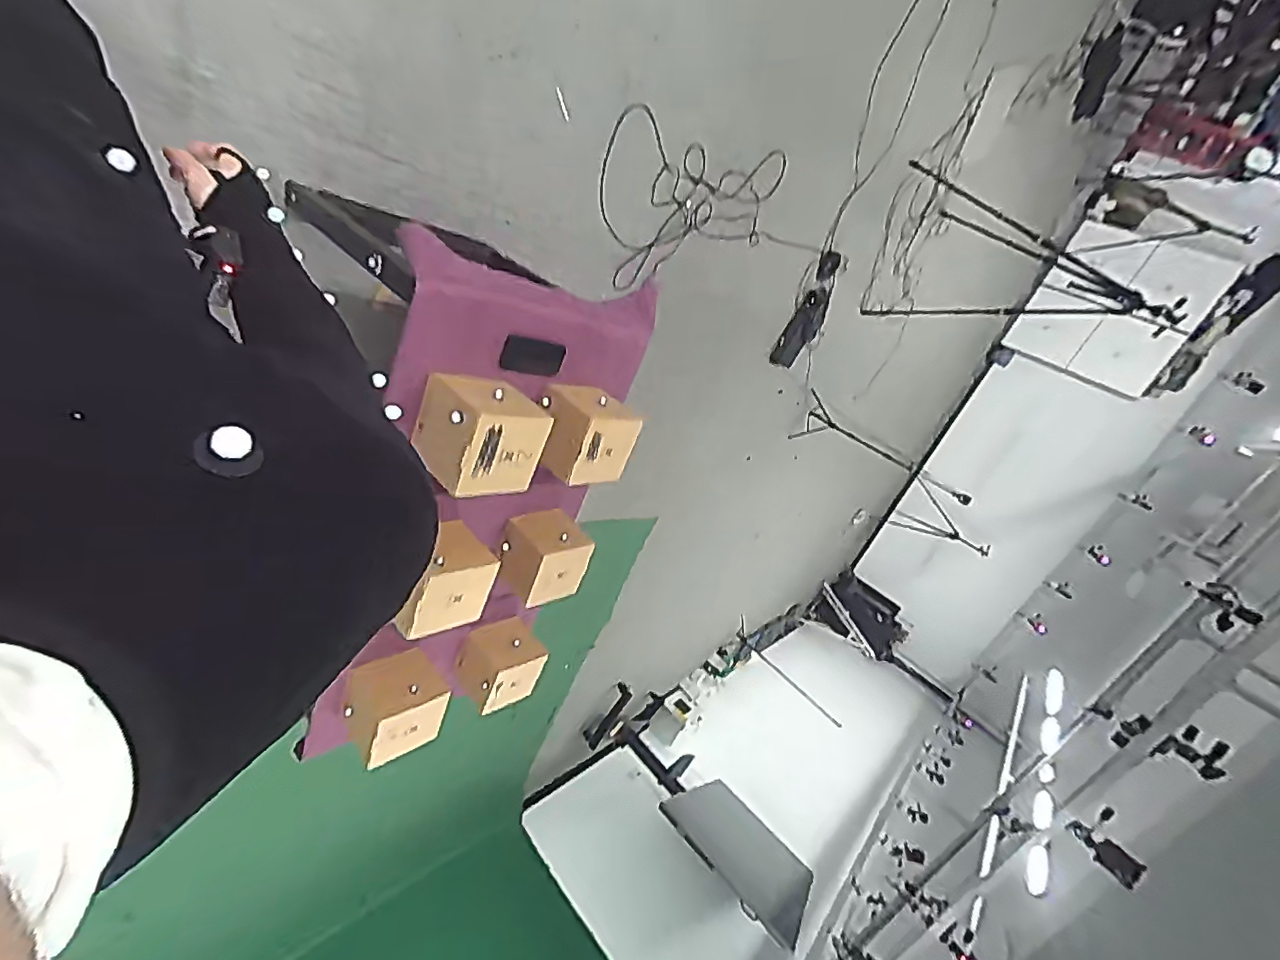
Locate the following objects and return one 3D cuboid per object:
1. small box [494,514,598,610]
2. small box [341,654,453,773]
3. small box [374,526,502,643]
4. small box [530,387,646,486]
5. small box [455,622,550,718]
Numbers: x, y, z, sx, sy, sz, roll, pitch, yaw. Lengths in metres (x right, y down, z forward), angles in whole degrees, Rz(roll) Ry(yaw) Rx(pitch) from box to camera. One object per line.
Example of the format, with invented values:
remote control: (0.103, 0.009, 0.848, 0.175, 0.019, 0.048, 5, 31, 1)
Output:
small box: (-0.247, 0.203, 1.402, 0.179, 0.176, 0.168, -5, 126, -50)
small box: (-0.586, 0.550, 1.302, 0.179, 0.176, 0.168, -6, 125, -50)
small box: (-0.435, 0.212, 1.159, 0.179, 0.176, 0.168, -4, 126, -52)
small box: (-0.124, -0.102, 1.242, 0.179, 0.176, 0.168, -6, 128, -51)
small box: (-0.395, 0.532, 1.545, 0.179, 0.176, 0.168, -4, 124, -52)
